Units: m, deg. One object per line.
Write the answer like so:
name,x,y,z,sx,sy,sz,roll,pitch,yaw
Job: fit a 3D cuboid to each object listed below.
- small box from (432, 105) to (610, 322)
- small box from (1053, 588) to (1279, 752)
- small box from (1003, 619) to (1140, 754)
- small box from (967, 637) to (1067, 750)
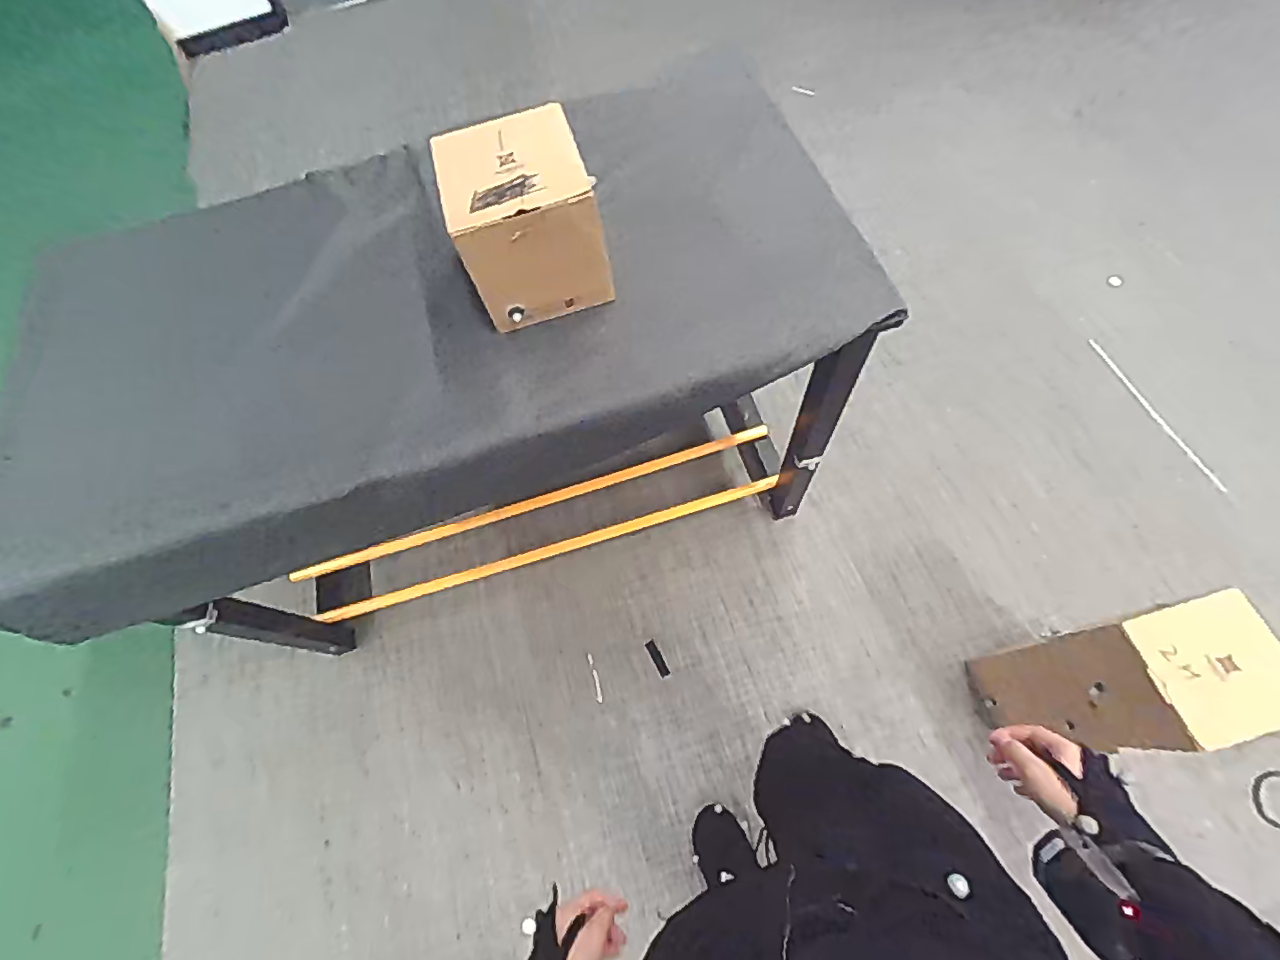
small box,-0.144,-0.328,0.696,0.168,0.176,0.179,-17,64,-2
small box,0.753,0.270,0.767,0.179,0.176,0.168,-17,65,-2
small box,0.771,0.343,0.914,0.168,0.176,0.179,-18,65,-3
small box,0.792,0.410,1.061,0.168,0.176,0.179,-16,67,-1
